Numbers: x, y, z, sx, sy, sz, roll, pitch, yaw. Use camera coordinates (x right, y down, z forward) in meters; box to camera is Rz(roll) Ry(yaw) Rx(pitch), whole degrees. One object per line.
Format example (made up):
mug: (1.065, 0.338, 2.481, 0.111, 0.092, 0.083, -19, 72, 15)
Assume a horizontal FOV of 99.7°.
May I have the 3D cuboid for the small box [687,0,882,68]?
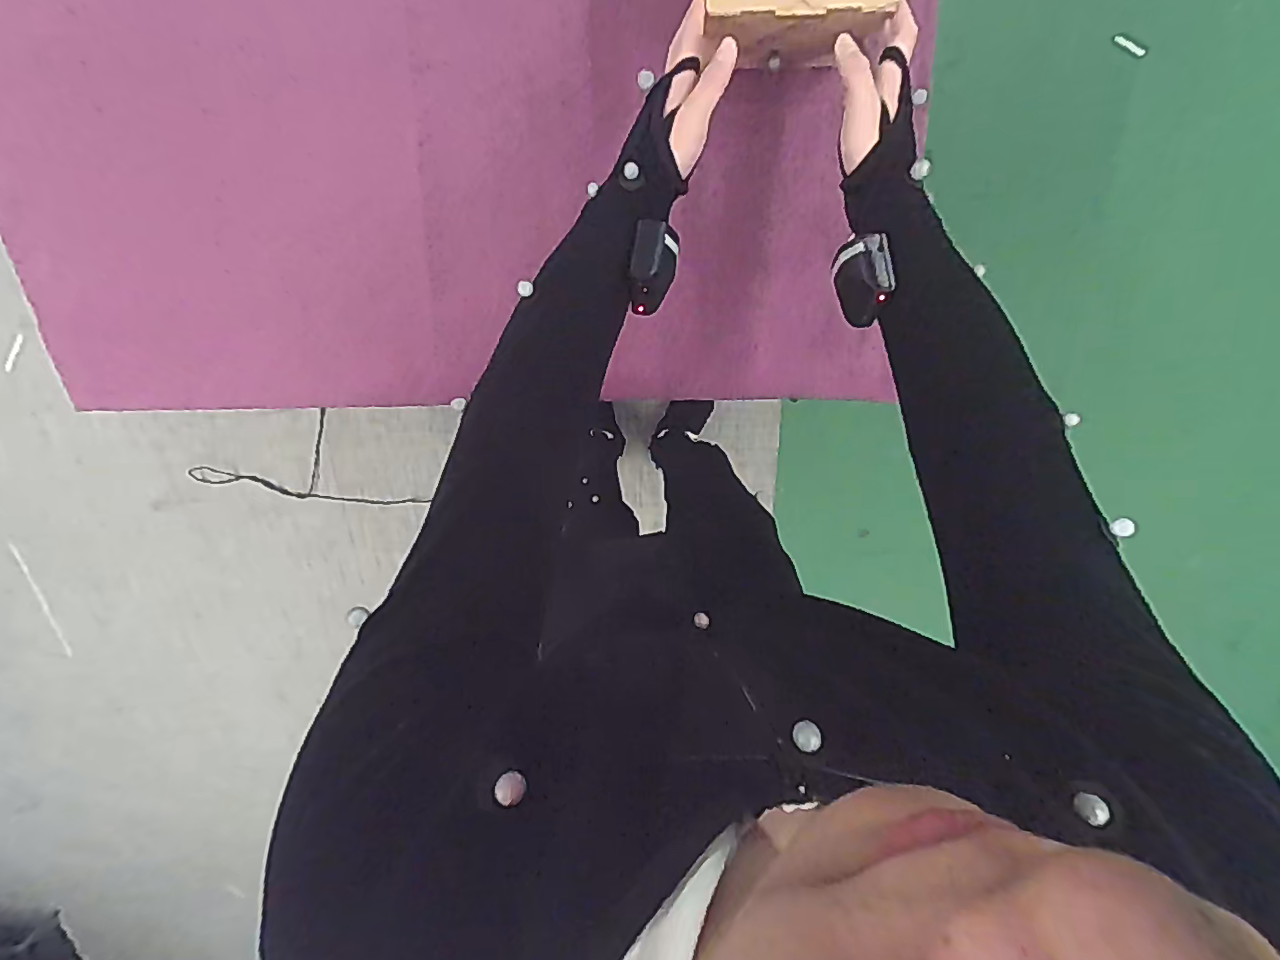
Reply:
small box: (0.131, -0.517, 0.507, 0.168, 0.176, 0.179, 1, 116, 4)
